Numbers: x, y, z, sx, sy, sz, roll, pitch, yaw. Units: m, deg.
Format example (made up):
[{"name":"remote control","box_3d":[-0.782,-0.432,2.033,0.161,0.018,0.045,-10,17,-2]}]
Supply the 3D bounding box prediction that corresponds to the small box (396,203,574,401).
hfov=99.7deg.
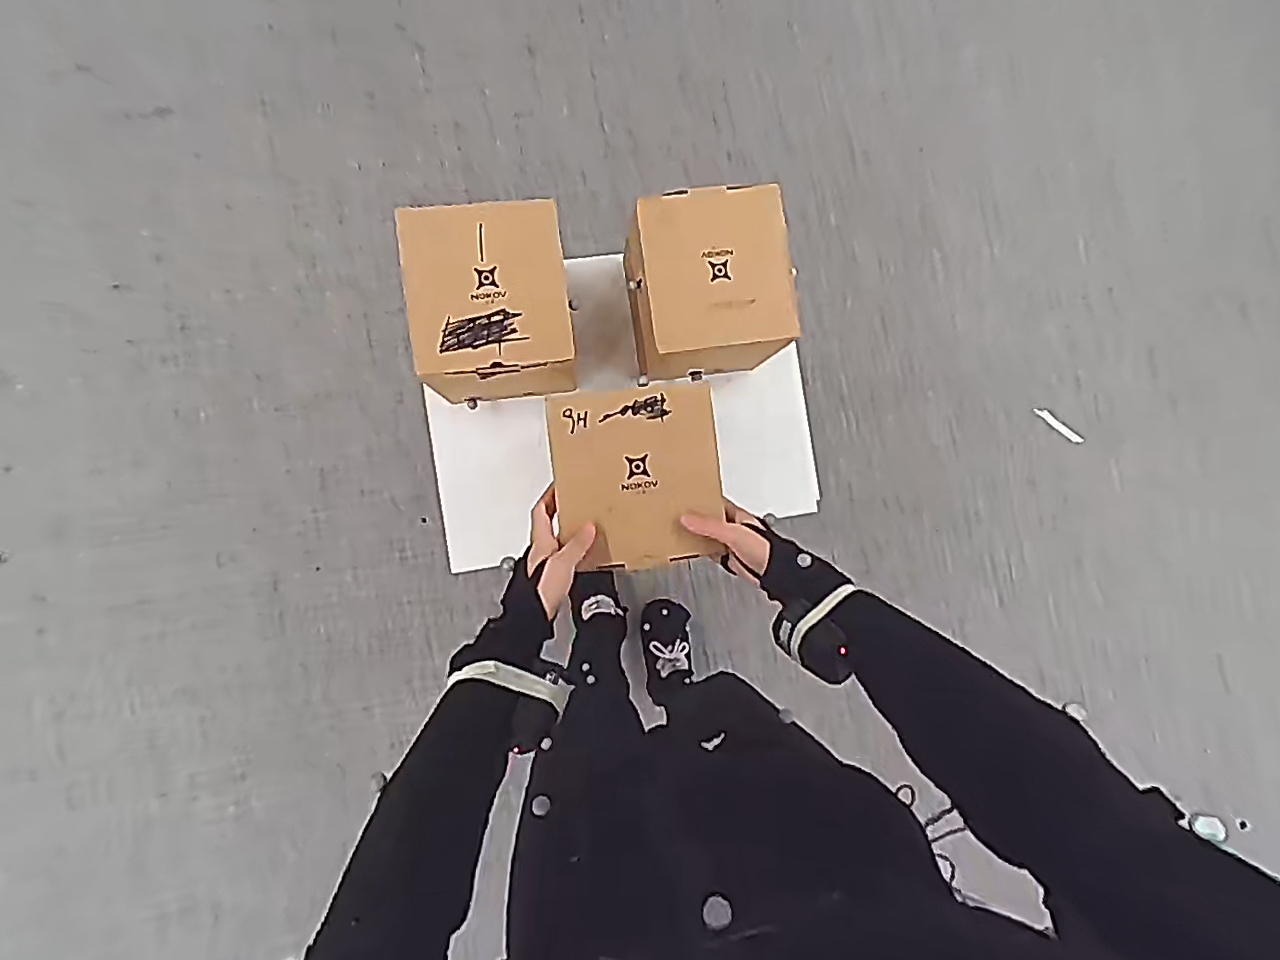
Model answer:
[{"name":"small box","box_3d":[-0.168,-0.194,0.637,0.168,0.176,0.179,-7,89,-8]}]

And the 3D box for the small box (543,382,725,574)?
[{"name":"small box","box_3d":[-0.009,-0.004,0.609,0.168,0.176,0.179,-7,90,-4]}]

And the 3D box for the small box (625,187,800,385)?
[{"name":"small box","box_3d":[0.078,-0.228,0.670,0.168,0.176,0.179,-9,91,-6]}]
